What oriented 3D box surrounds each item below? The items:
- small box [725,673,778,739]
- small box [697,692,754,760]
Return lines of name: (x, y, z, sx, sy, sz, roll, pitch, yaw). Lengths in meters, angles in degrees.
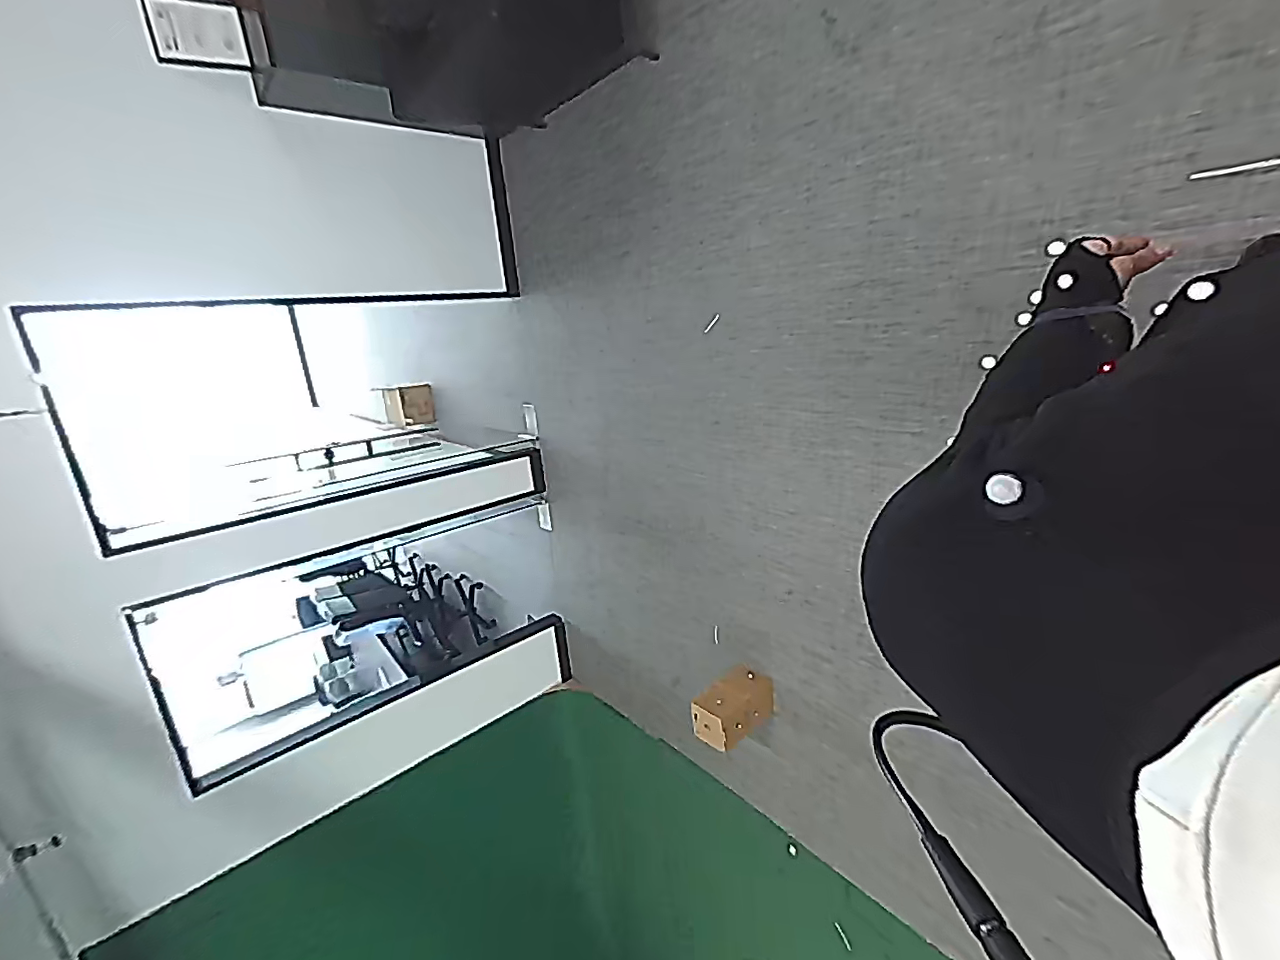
small box: (0.487, 0.977, 2.353, 0.168, 0.176, 0.179, 12, 111, 49)
small box: (0.362, 1.018, 2.255, 0.179, 0.176, 0.168, 8, 109, 49)
